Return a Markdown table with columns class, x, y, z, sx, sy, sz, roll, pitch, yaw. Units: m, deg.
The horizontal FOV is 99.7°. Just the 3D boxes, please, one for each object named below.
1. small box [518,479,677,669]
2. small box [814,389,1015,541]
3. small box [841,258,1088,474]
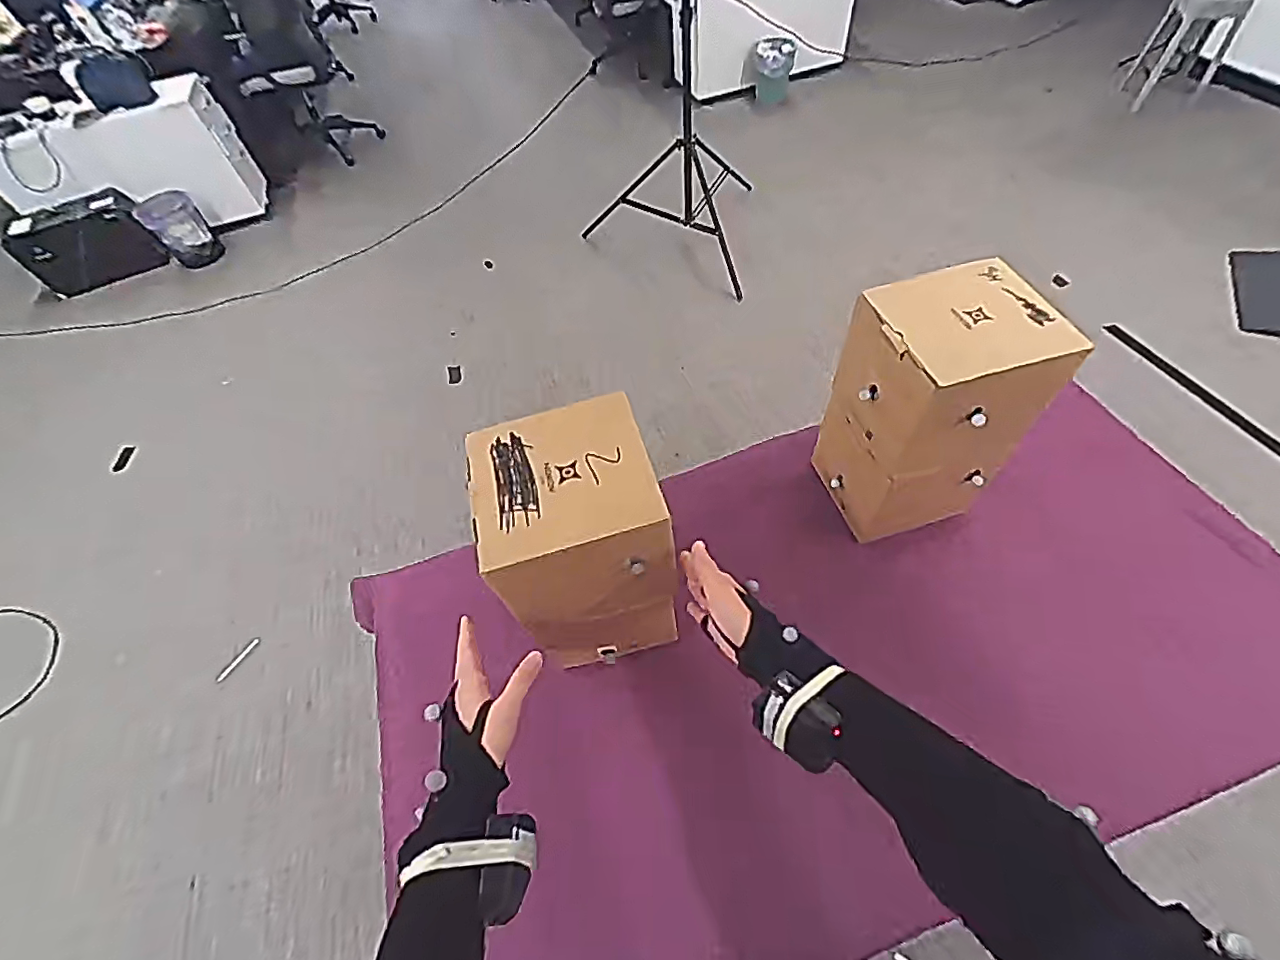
| class | x | y | z | sx | sy | sz | roll | pitch | yaw |
| --- | --- | --- | --- | --- | --- | --- | --- | --- | --- |
| small box | -0.053 | 0.129 | 0.720 | 0.168 | 0.176 | 0.179 | -15 | 57 | -2 |
| small box | 0.378 | -0.036 | 0.783 | 0.179 | 0.176 | 0.168 | -16 | 55 | -4 |
| small box | 0.360 | -0.129 | 0.649 | 0.179 | 0.176 | 0.168 | -15 | 56 | -3 |
